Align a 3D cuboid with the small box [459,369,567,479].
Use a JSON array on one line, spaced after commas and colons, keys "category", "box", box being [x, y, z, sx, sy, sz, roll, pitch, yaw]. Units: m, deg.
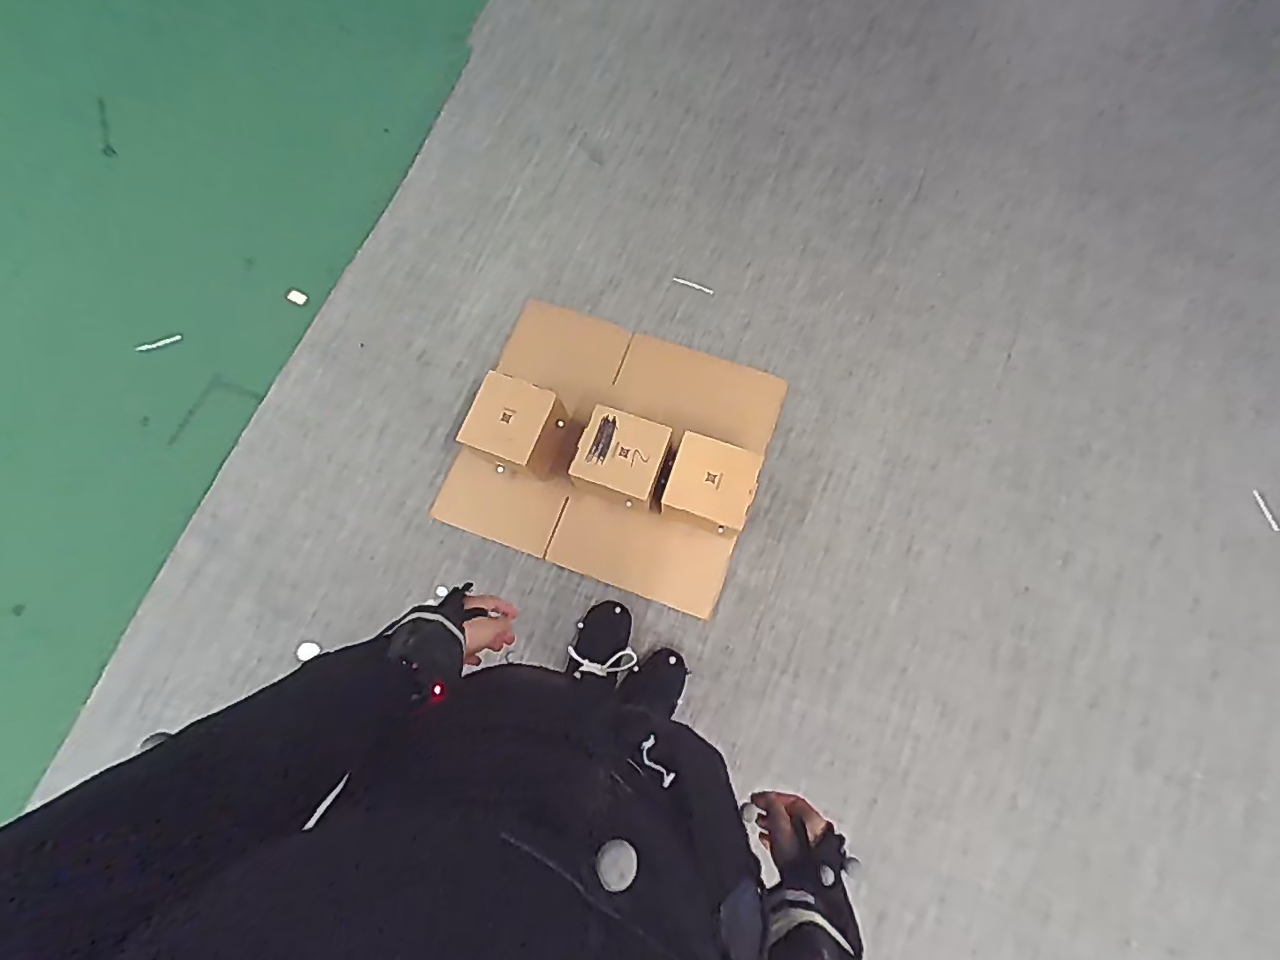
[{"category": "small box", "box": [-0.276, -0.120, 1.224, 0.168, 0.176, 0.179, 20, 80, 7]}]
